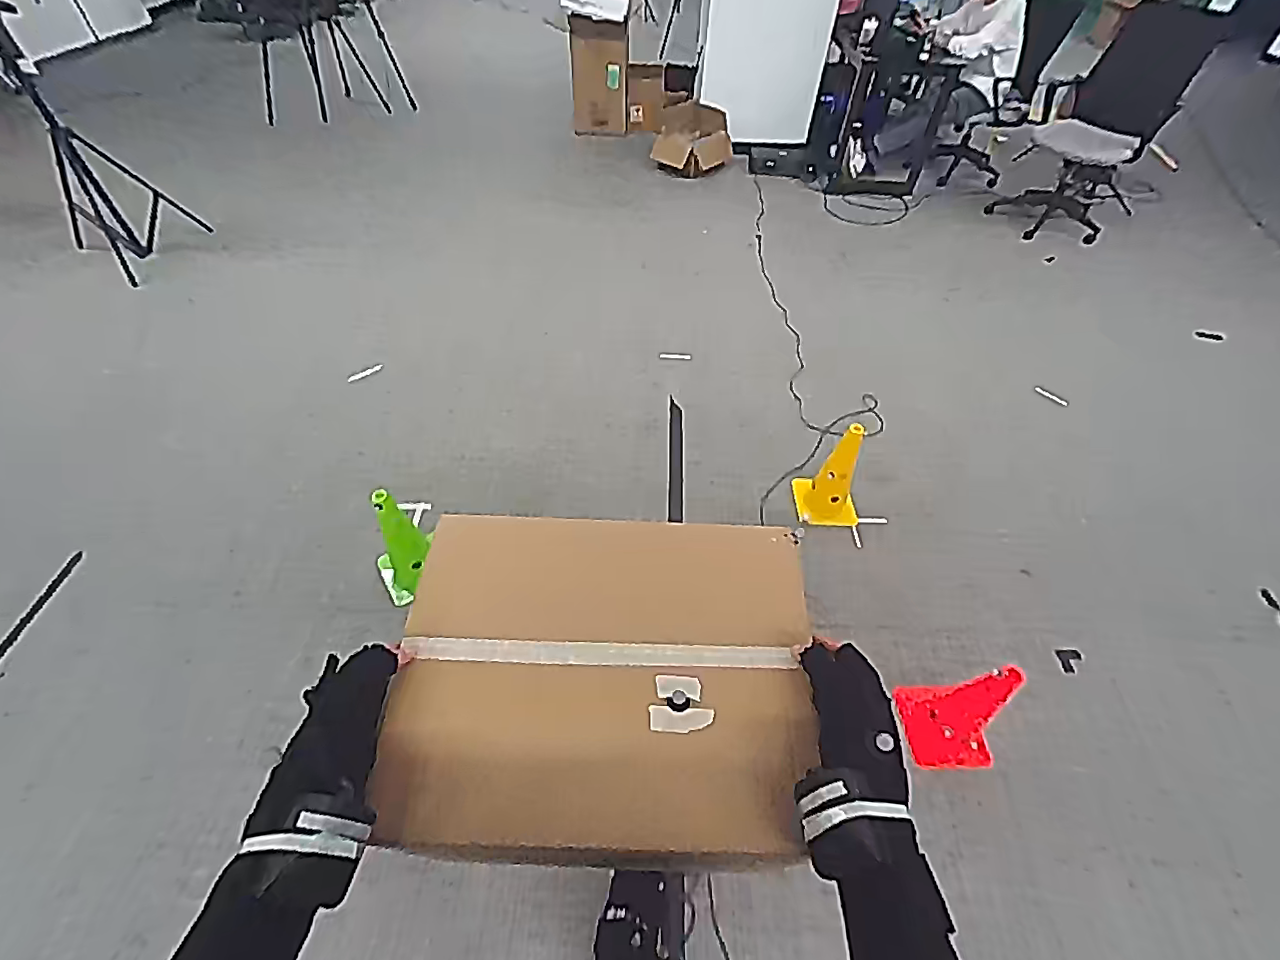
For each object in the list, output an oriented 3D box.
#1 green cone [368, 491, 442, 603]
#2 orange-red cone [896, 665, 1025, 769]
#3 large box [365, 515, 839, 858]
[{"bbox_3d":[-0.683,0.153,1.542,0.202,0.368,0.200,-28,55,-22],"label":"green cone"},{"bbox_3d":[0.785,0.522,1.269,0.198,0.360,0.199,1,48,-2],"label":"orange-red cone"},{"bbox_3d":[-0.035,0.258,0.654,0.408,0.320,0.320,3,52,-1],"label":"large box"}]
